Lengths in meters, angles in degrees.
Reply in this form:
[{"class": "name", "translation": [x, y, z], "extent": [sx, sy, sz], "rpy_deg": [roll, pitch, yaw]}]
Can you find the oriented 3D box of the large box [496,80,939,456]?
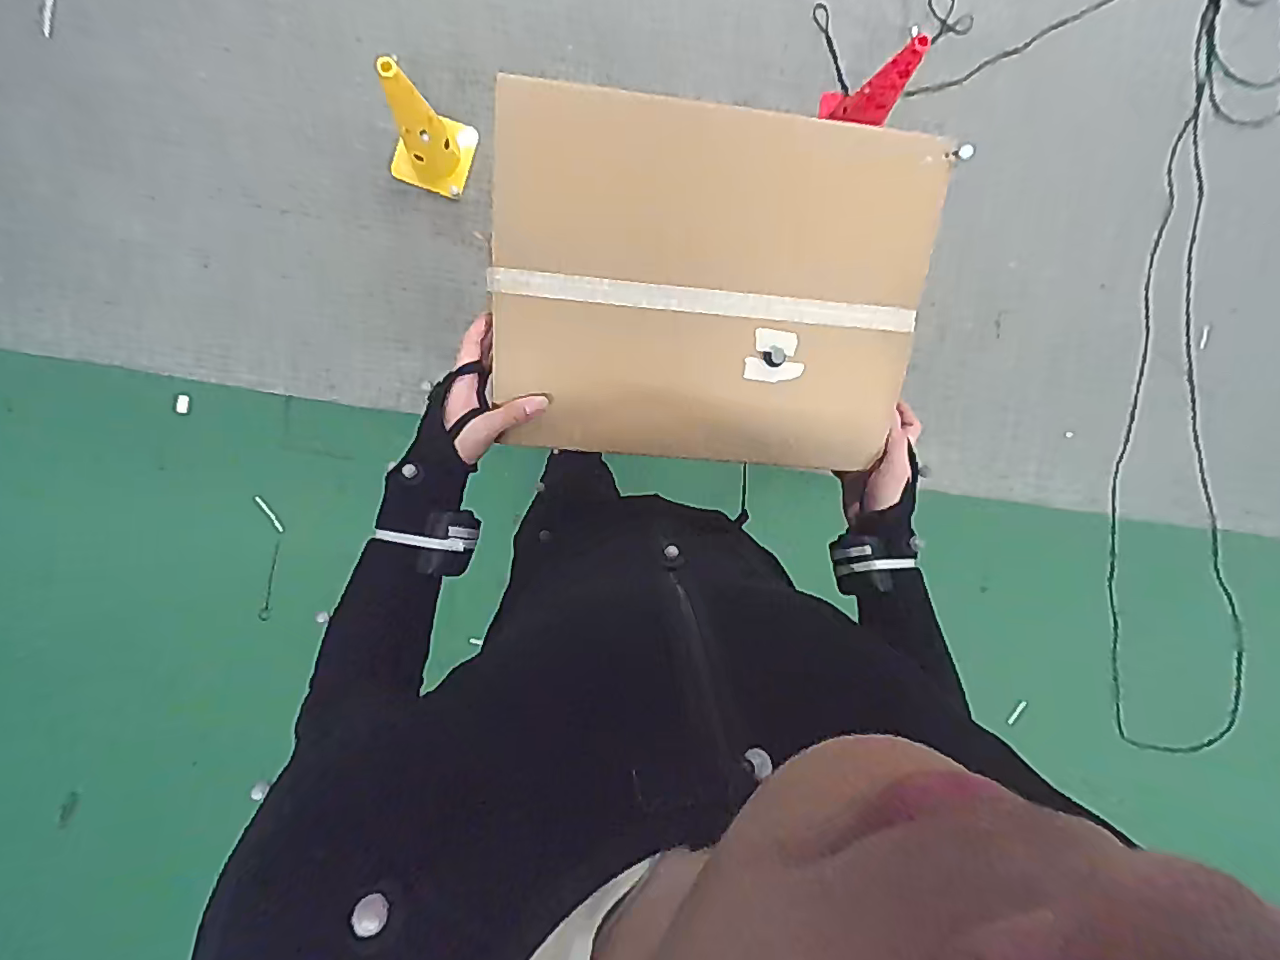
[{"class": "large box", "translation": [0.051, -0.225, 0.657], "extent": [0.408, 0.320, 0.320], "rpy_deg": [4, 109, -7]}]
